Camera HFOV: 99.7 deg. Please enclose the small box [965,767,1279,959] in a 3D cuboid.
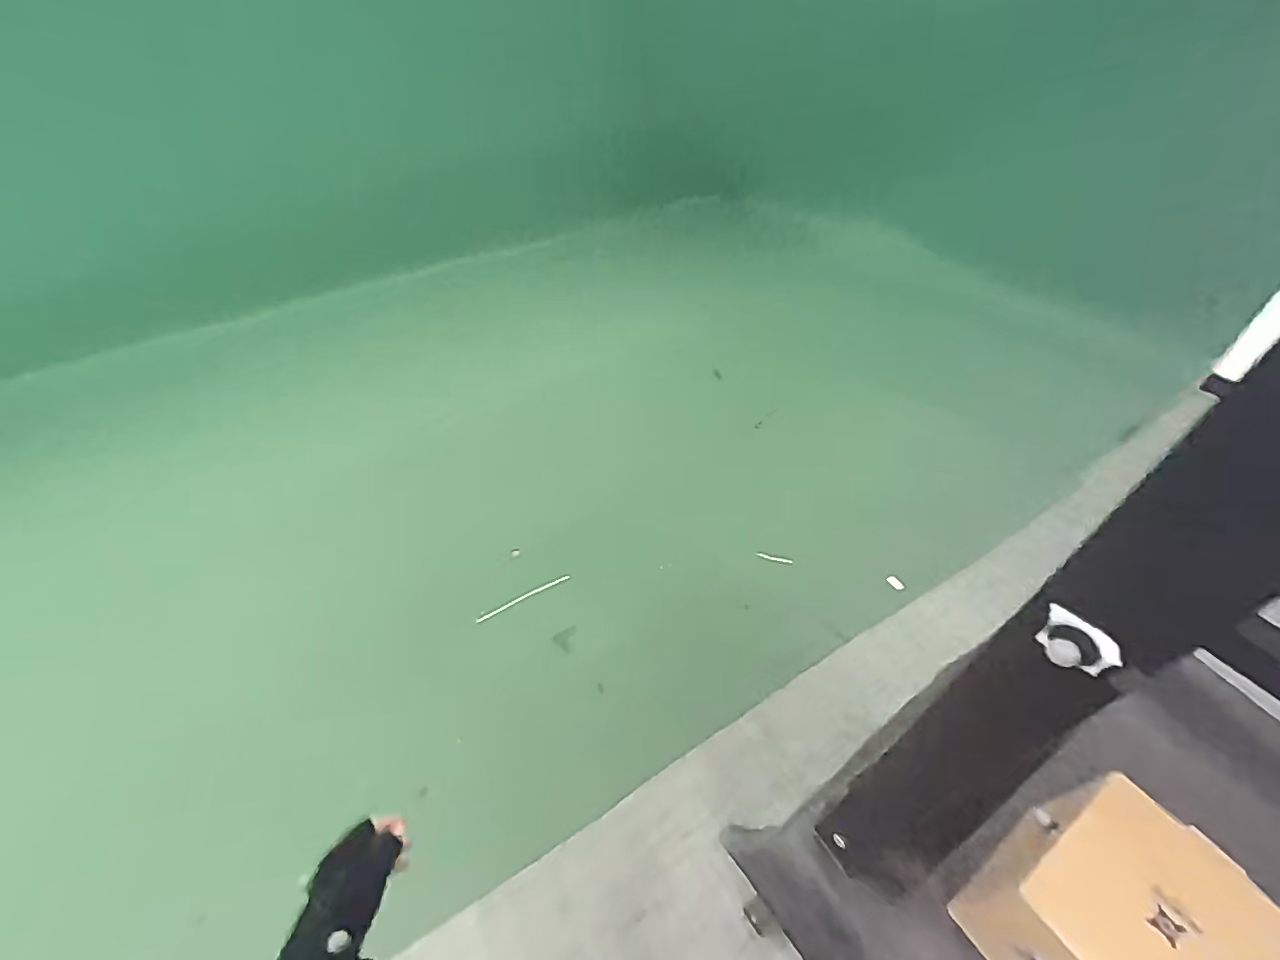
[{"bbox_3d":[0.444,0.417,0.506,0.179,0.176,0.168,-26,51,-21],"label":"small box"}]
